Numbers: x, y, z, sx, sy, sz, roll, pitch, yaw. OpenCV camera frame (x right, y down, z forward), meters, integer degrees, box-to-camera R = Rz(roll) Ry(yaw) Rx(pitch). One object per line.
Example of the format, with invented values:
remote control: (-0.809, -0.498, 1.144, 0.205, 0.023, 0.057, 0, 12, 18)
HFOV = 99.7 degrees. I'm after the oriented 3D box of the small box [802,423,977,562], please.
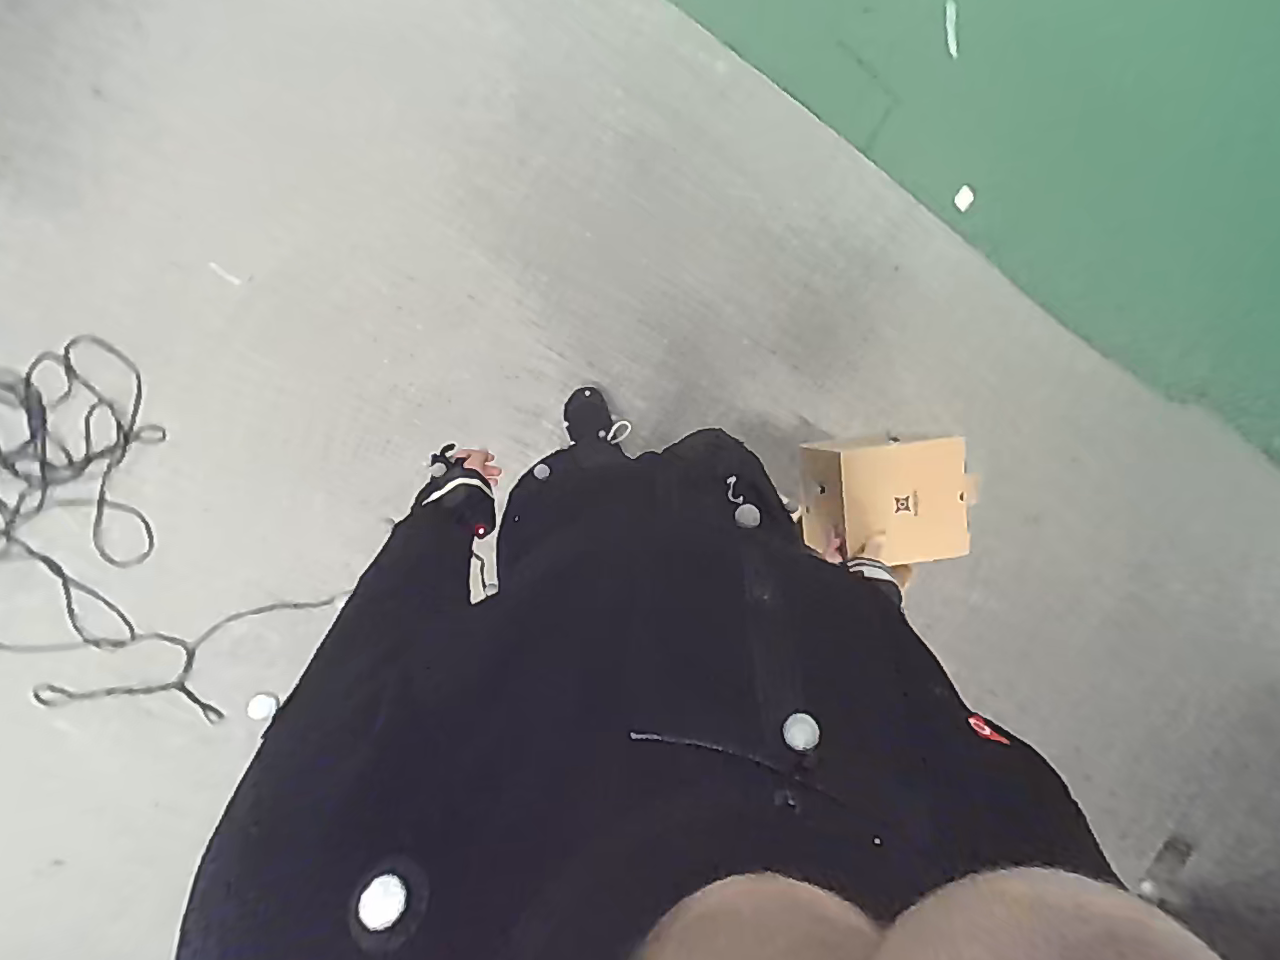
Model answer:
small box: (0.348, 0.011, 0.789, 0.179, 0.176, 0.168, -9, 96, -4)
